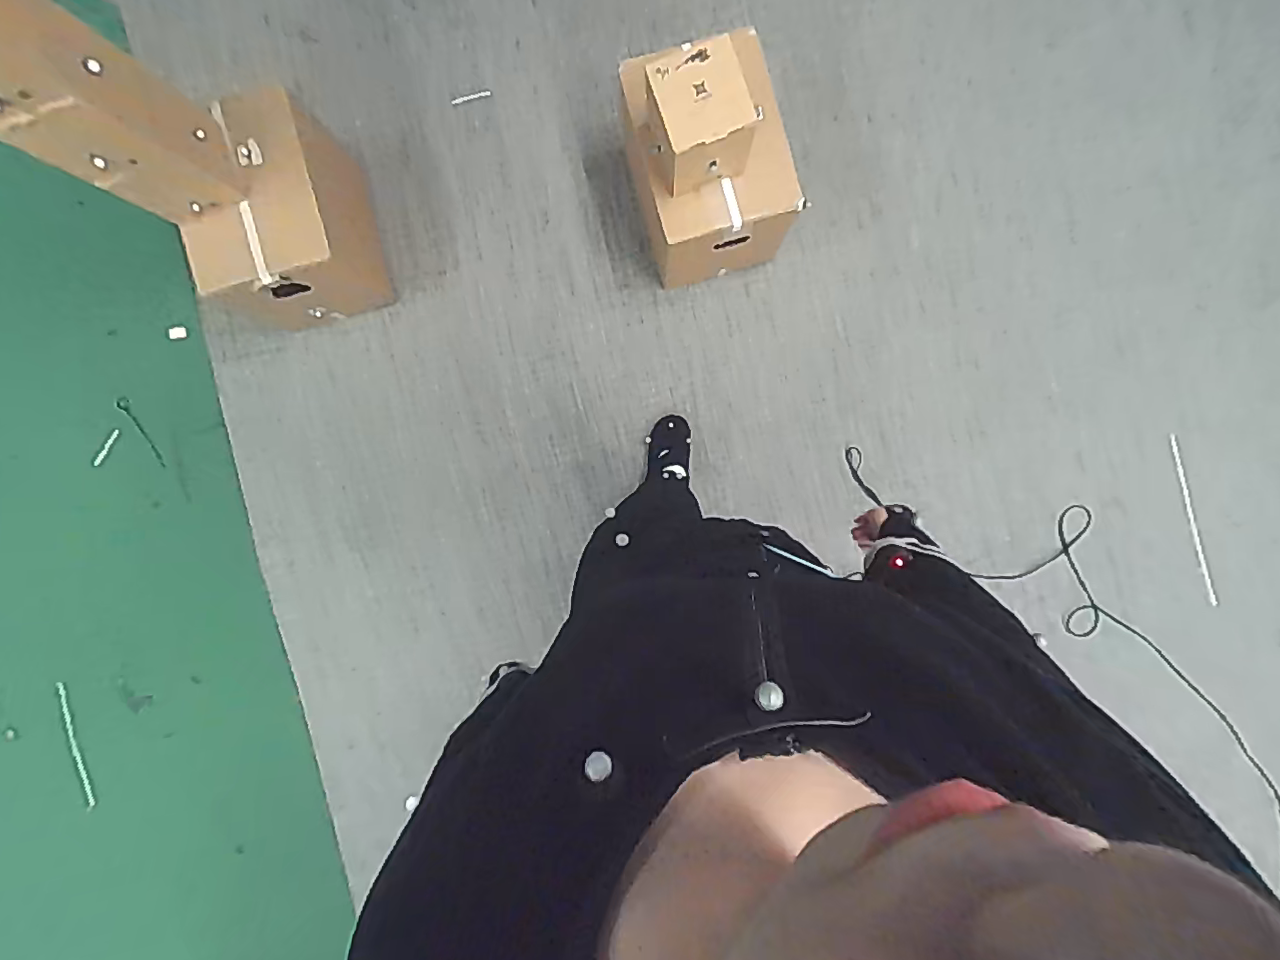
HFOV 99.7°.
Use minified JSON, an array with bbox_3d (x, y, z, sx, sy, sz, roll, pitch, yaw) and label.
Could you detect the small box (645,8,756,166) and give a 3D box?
[{"bbox_3d":[0.116,-0.756,1.068,0.168,0.176,0.179,-18,92,3],"label":"small box"}]
